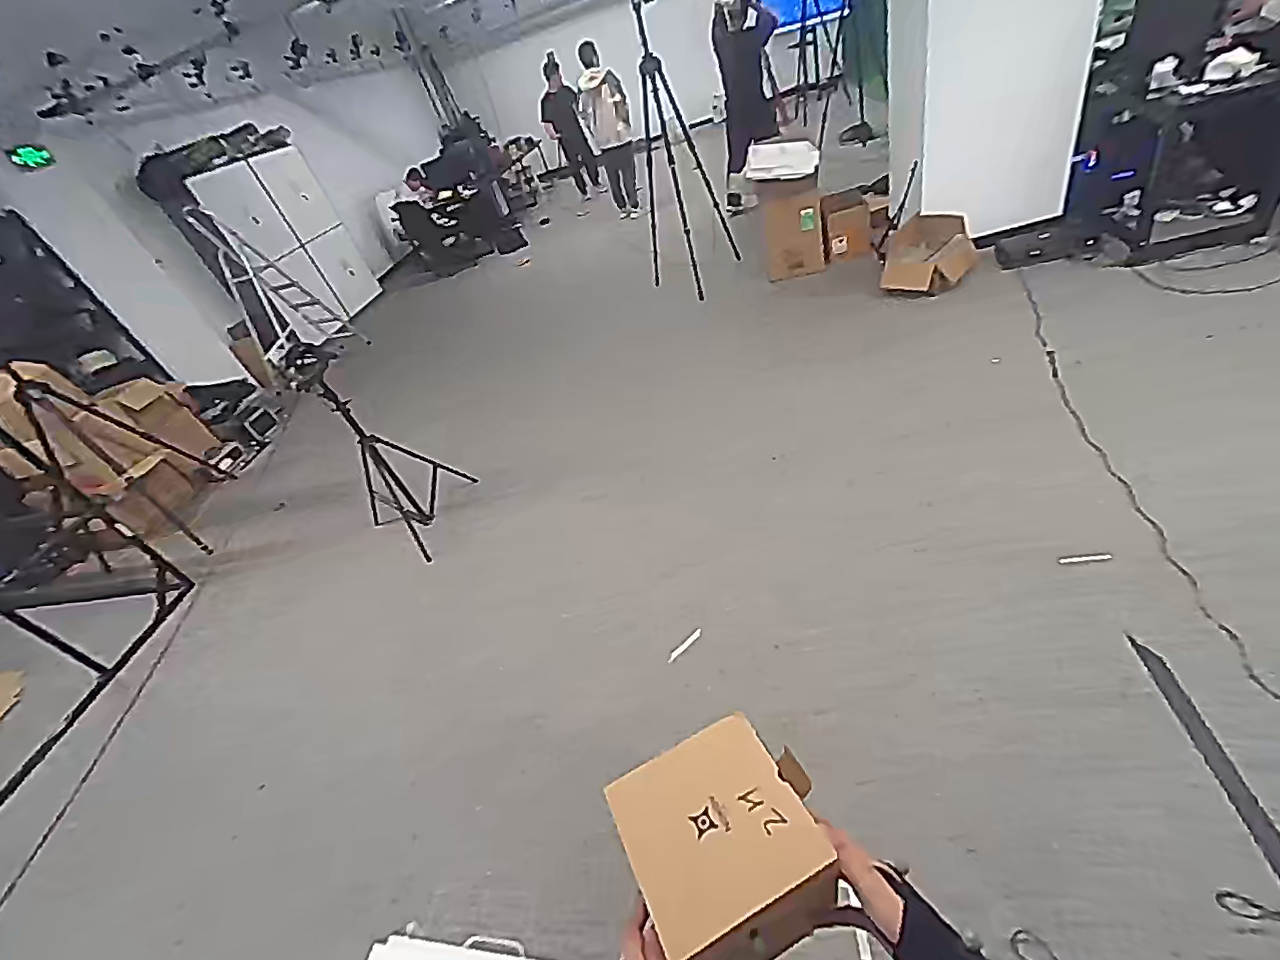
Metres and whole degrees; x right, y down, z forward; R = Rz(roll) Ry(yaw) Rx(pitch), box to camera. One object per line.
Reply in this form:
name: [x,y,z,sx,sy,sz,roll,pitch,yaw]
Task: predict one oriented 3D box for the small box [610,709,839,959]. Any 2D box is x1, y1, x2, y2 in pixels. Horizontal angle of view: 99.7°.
small box: [0.091,0.393,0.577,0.179,0.176,0.168,-23,37,-12]
